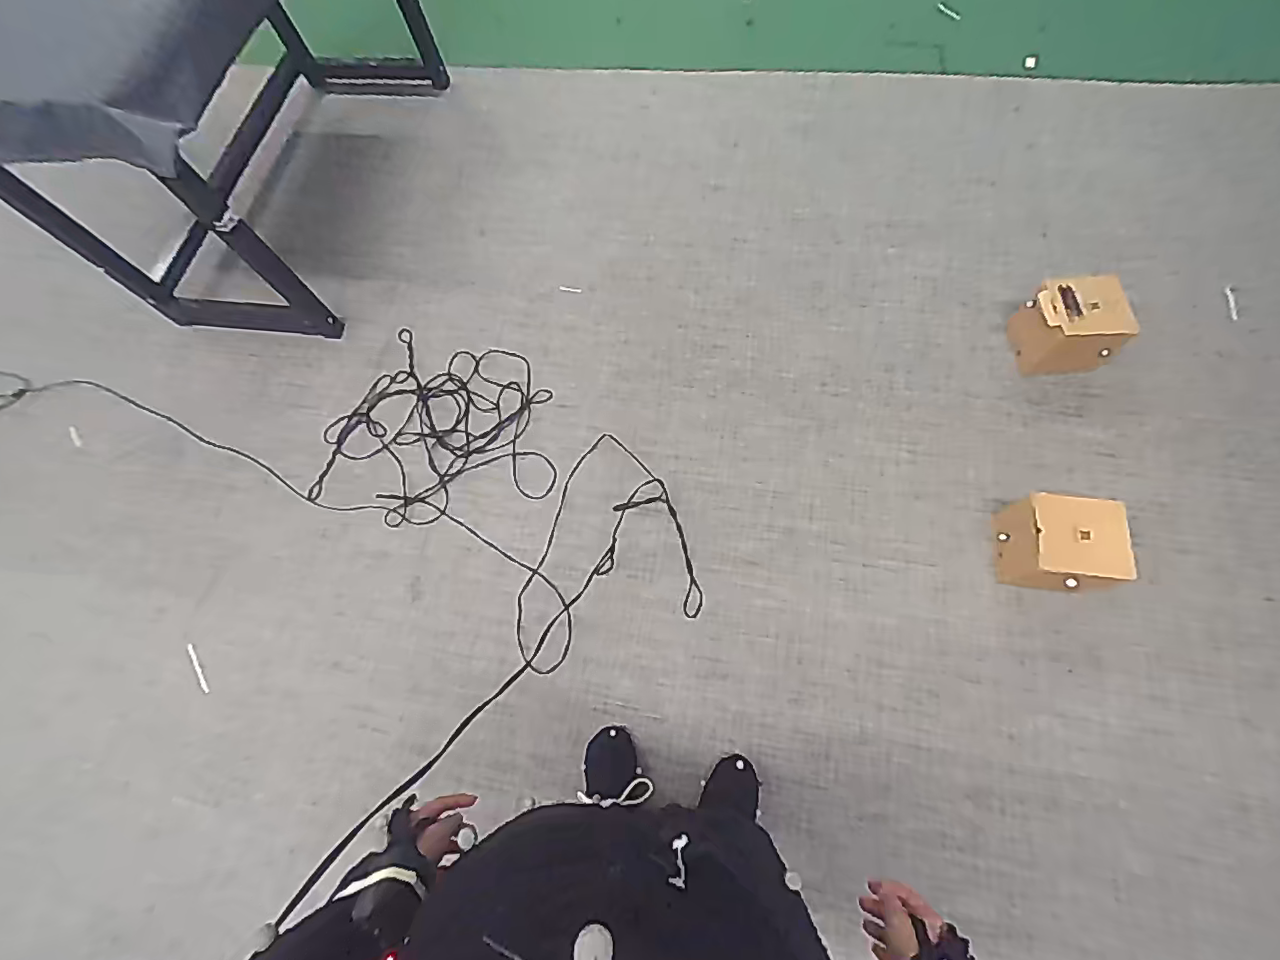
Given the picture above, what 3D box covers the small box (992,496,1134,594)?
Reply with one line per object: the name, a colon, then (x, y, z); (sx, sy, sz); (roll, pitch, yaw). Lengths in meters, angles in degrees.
small box: (0.900, 0.145, 1.167); (0.179, 0.176, 0.168); (5, 70, 8)
